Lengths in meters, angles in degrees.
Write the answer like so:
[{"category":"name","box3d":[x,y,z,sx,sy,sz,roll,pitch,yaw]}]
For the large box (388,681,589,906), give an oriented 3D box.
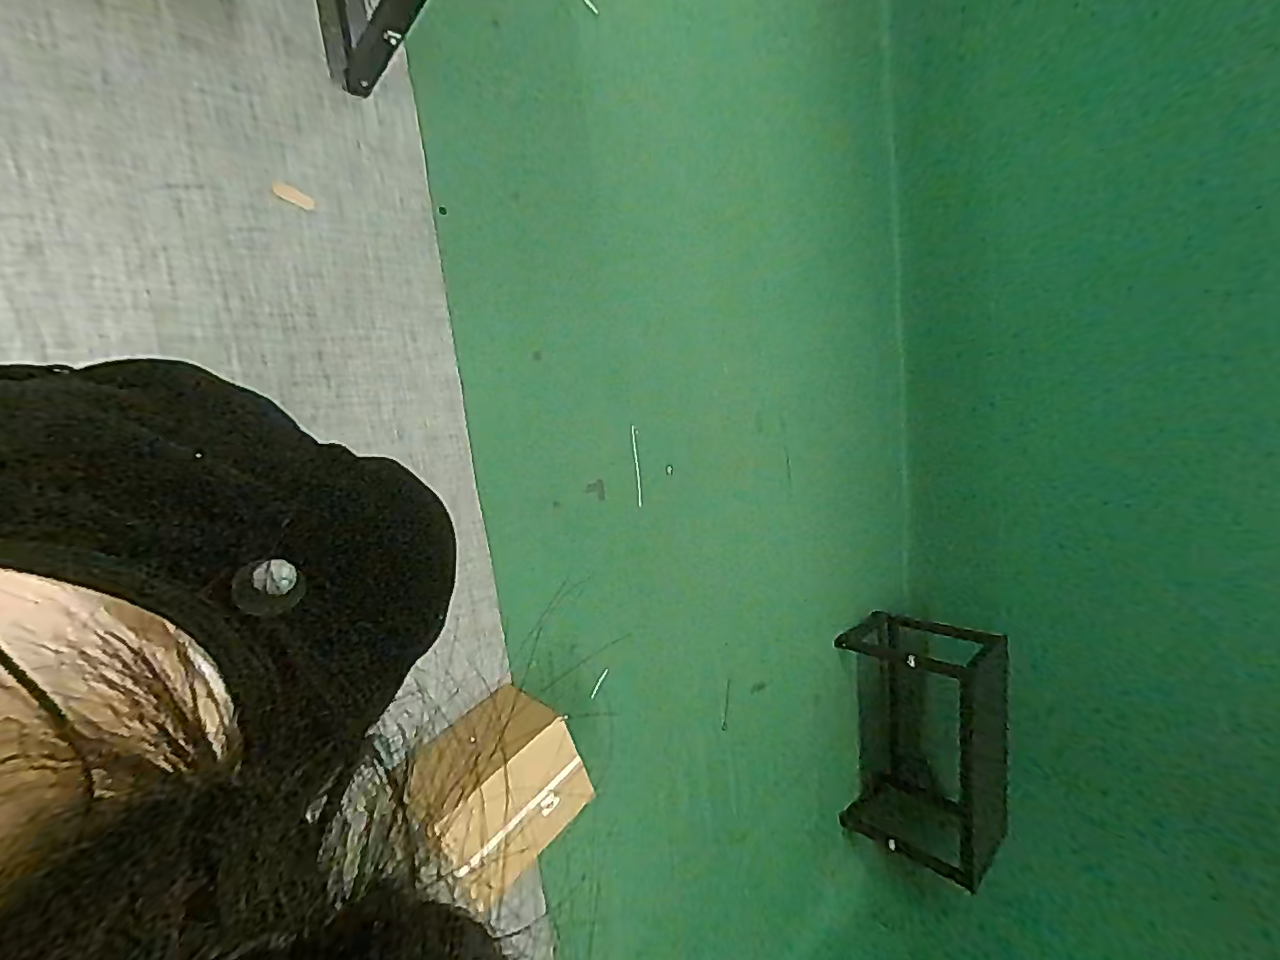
[{"category":"large box","box3d":[-0.427,0.864,1.555,0.408,0.320,0.320,-32,114,-38]}]
